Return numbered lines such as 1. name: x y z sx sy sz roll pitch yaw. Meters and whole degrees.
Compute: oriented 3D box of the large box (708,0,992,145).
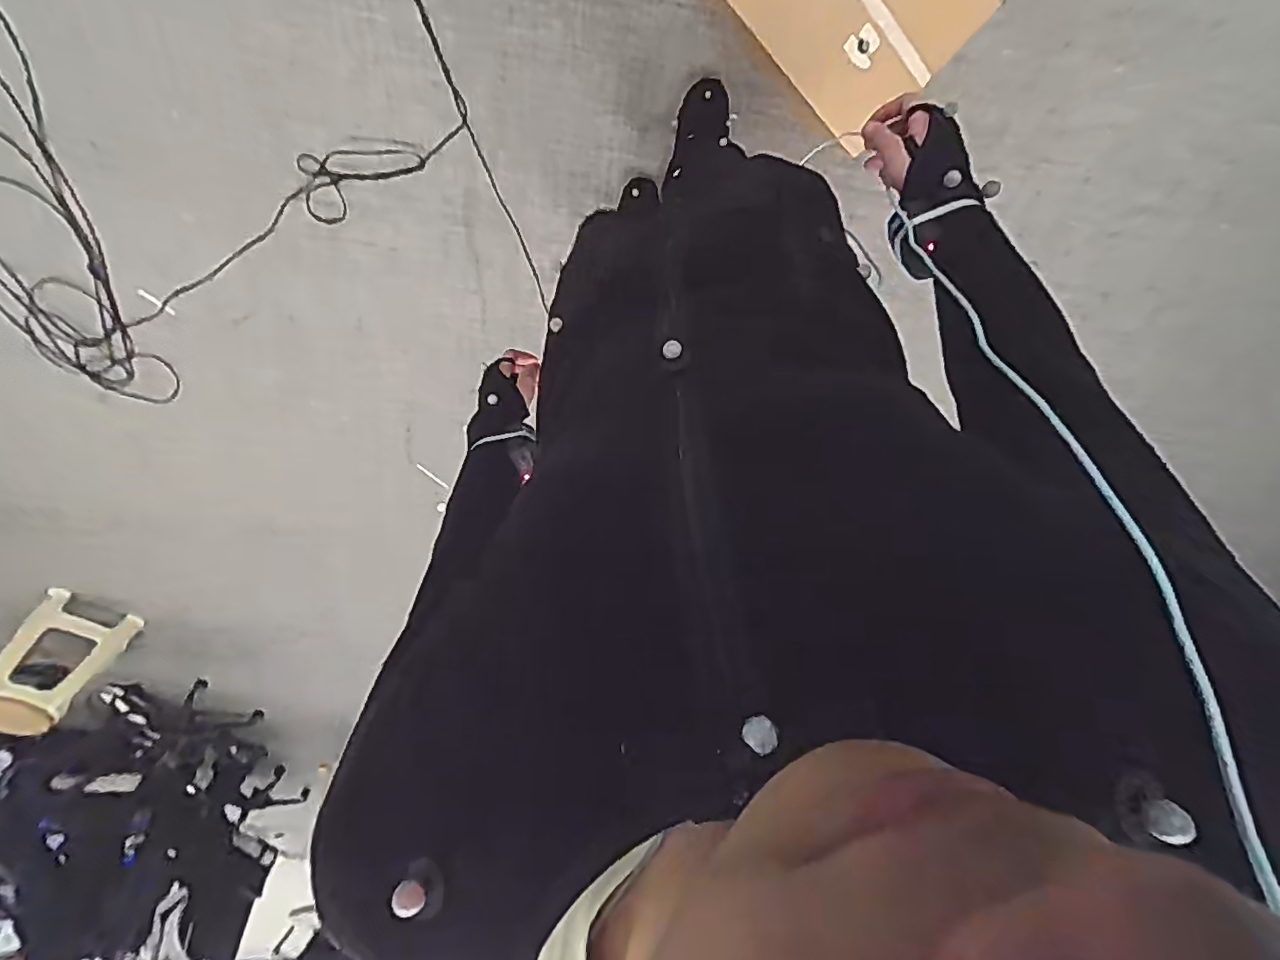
1. large box: 0.355 -0.921 0.994 0.408 0.320 0.320 32 124 -26
